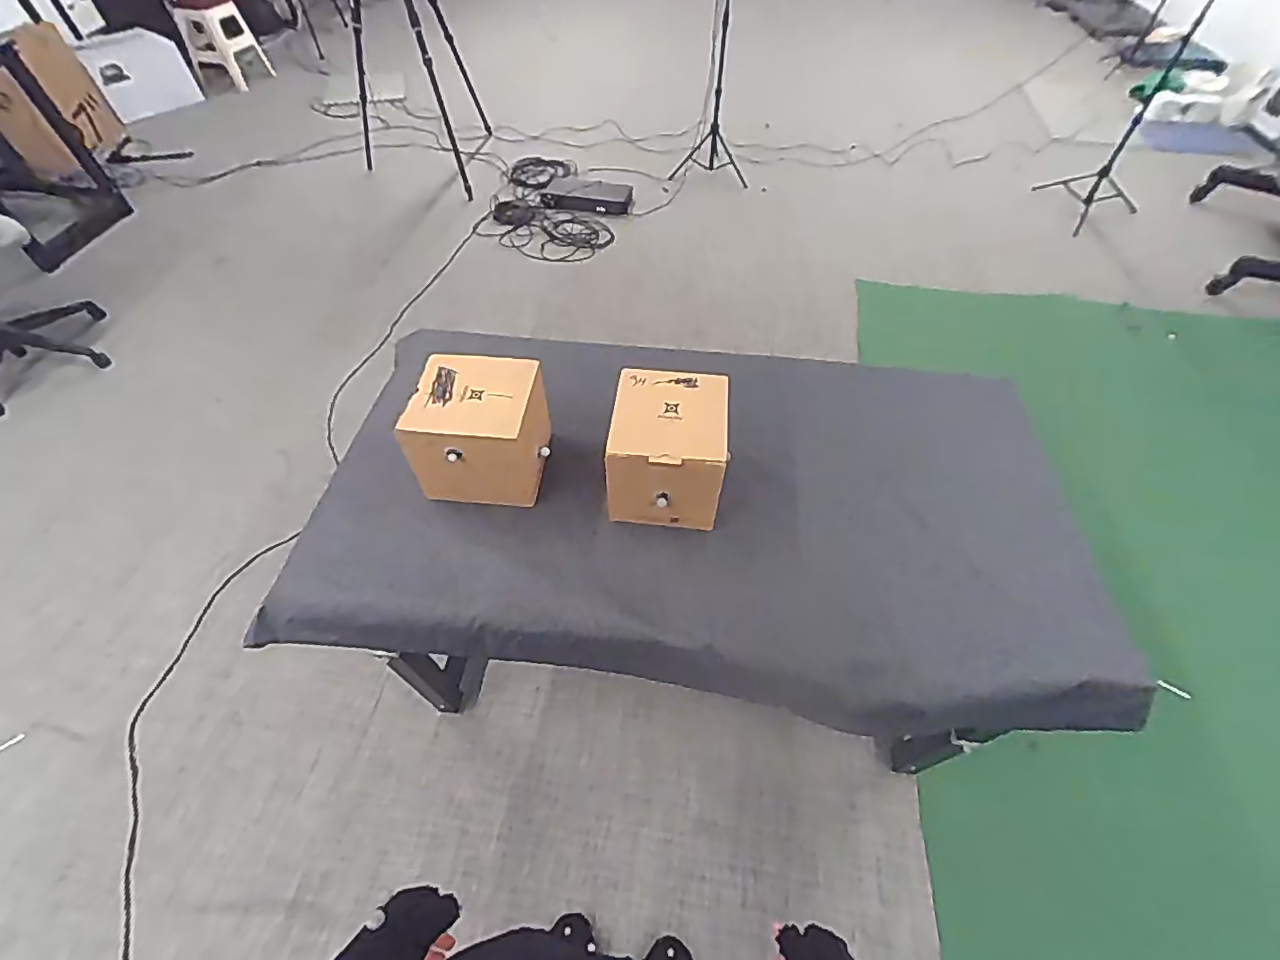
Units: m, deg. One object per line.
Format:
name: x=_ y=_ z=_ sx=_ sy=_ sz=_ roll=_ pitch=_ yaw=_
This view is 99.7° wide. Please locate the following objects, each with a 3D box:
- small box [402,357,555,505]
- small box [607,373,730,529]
small box: x=-0.243 y=-0.075 z=0.866 sx=0.179 sy=0.176 sz=0.168 roll=5 pitch=53 yaw=2
small box: x=0.047 y=-0.042 z=0.844 sx=0.168 sy=0.176 sz=0.179 roll=6 pitch=53 yaw=4
